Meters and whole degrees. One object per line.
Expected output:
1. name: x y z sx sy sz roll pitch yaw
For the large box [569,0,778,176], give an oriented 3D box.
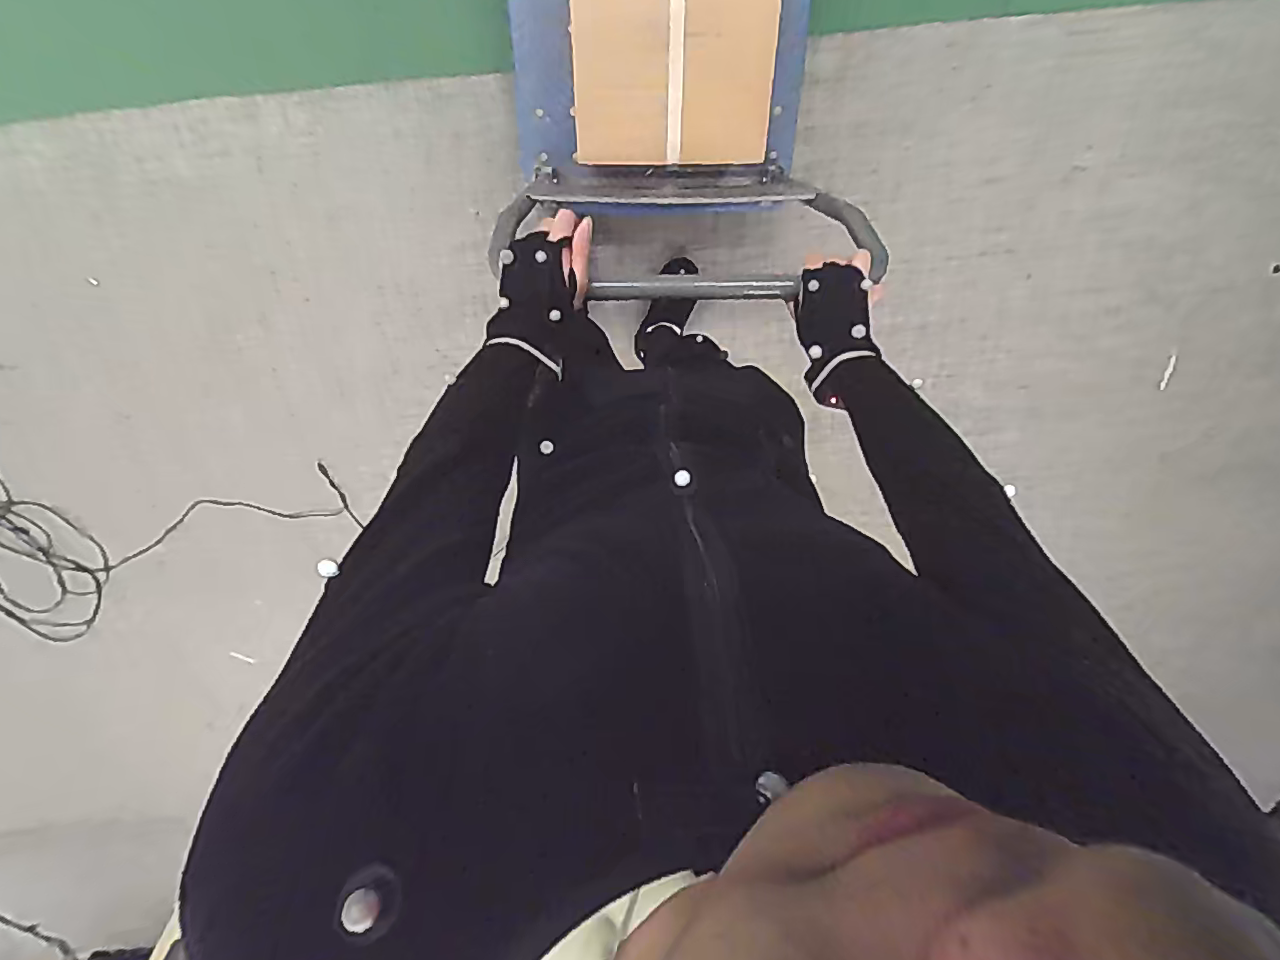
1. large box: 0.049 -0.761 0.931 0.320 0.320 0.408 -1 121 -1
